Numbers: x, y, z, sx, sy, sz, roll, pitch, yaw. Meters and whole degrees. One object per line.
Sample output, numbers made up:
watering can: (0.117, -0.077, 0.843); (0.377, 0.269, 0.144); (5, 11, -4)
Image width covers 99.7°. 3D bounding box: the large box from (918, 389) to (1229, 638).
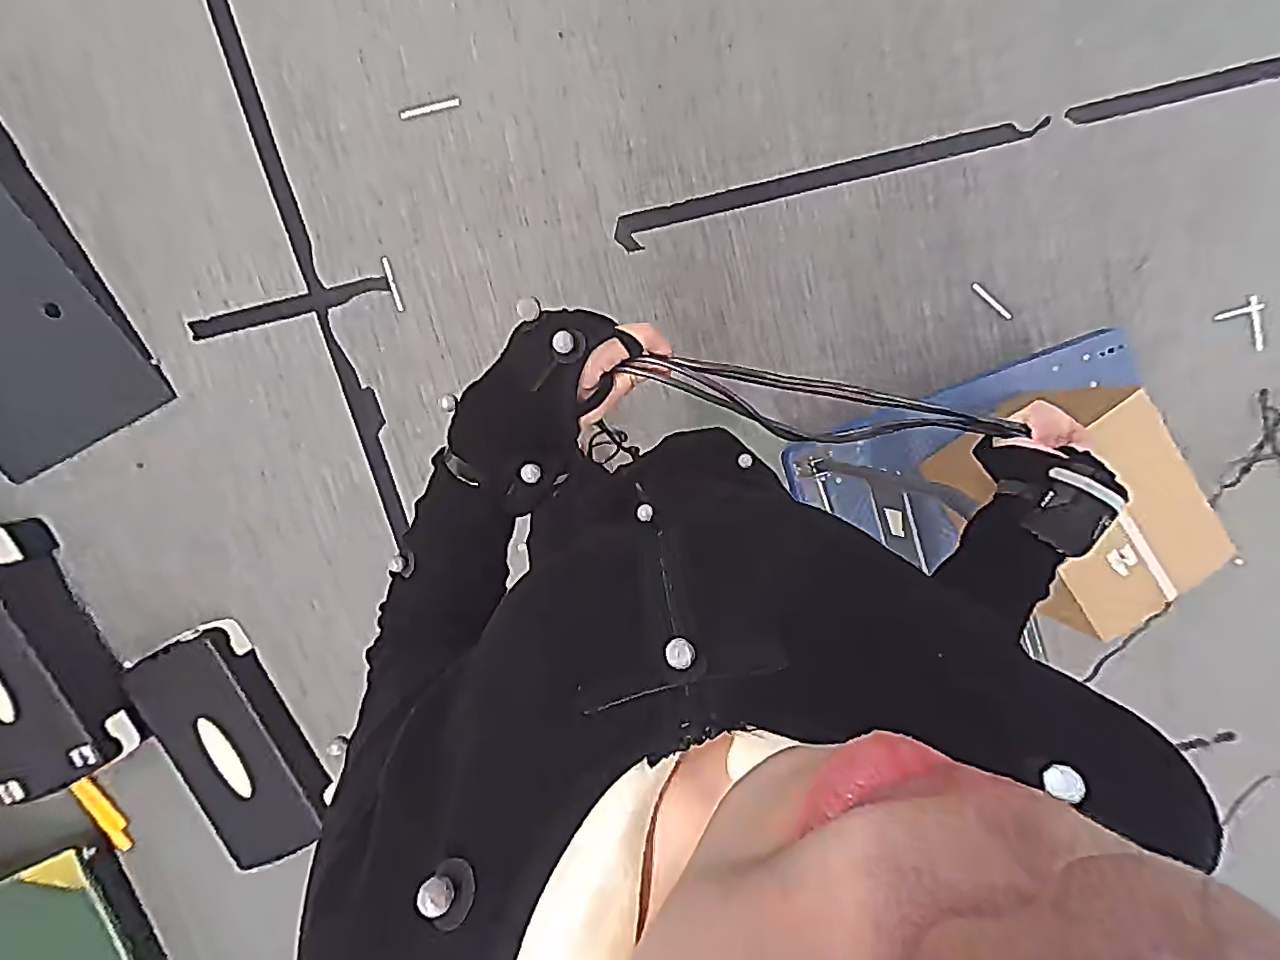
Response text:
large box: (0.916, 0.052, 1.191); (0.320, 0.320, 0.408); (-36, 98, 3)
